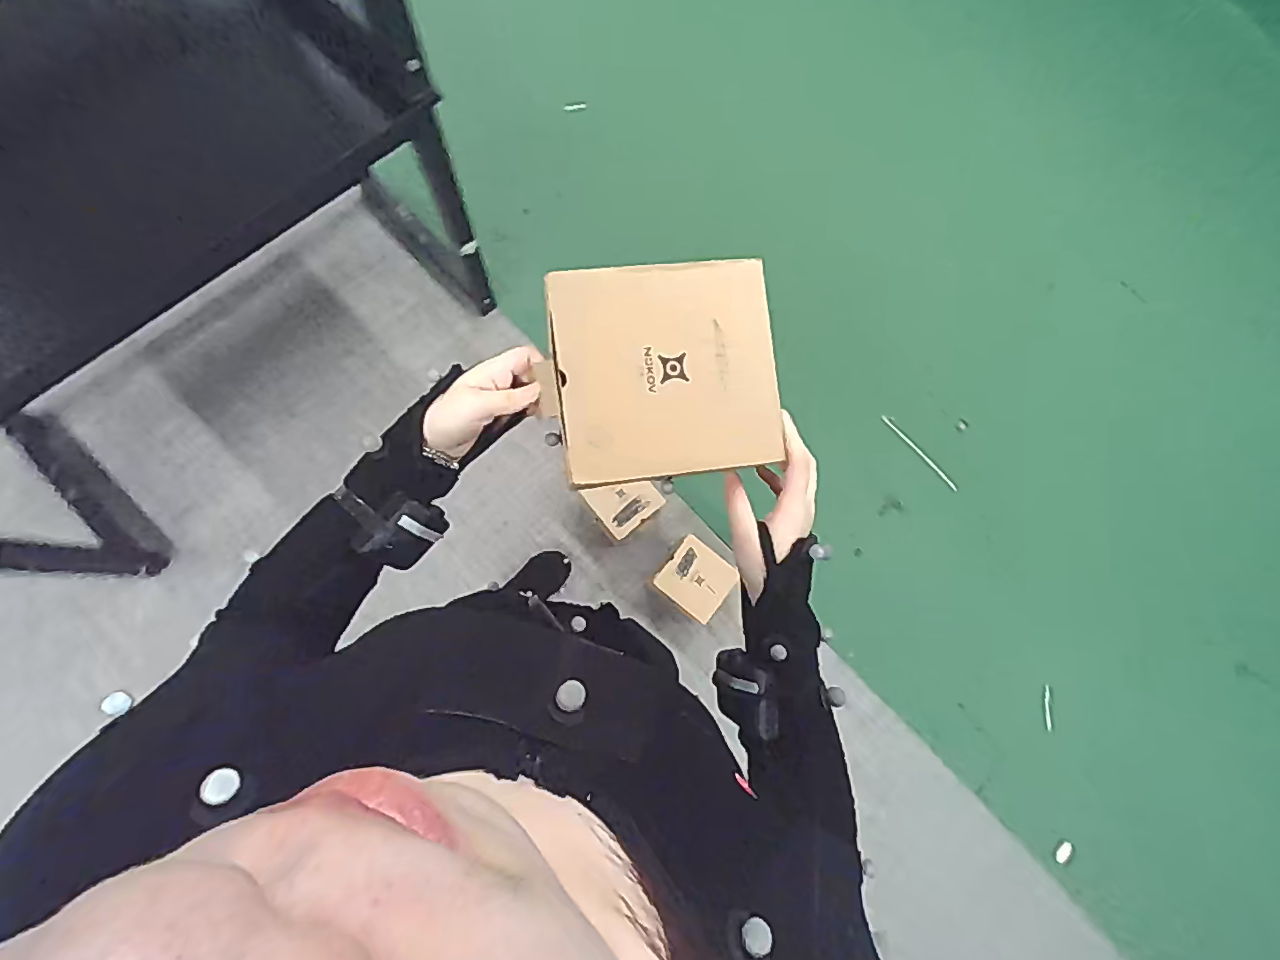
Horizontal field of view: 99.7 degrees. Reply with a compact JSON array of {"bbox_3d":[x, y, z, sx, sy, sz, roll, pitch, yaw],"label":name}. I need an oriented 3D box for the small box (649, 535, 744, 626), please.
[{"bbox_3d":[0.142,0.270,1.450,0.179,0.176,0.168,39,78,2],"label":"small box"}]
